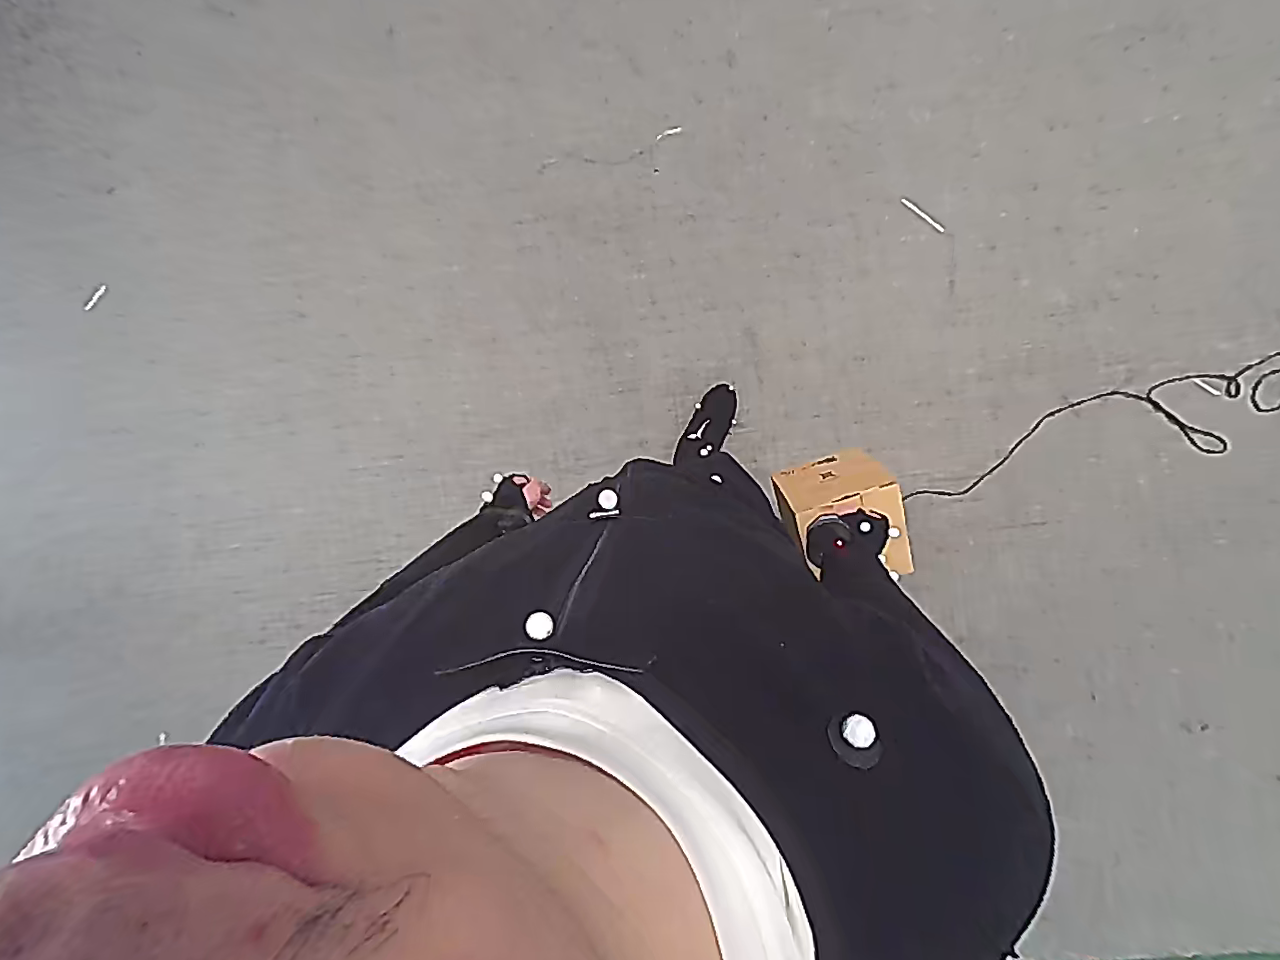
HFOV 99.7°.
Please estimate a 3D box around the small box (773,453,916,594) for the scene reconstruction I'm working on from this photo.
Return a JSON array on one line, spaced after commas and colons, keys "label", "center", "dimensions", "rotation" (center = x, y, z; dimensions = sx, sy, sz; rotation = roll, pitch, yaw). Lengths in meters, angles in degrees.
[{"label": "small box", "center": [0.350, 0.078, 0.938], "dimensions": [0.168, 0.179, 0.176], "rotation": [-19, 108, 5]}]
